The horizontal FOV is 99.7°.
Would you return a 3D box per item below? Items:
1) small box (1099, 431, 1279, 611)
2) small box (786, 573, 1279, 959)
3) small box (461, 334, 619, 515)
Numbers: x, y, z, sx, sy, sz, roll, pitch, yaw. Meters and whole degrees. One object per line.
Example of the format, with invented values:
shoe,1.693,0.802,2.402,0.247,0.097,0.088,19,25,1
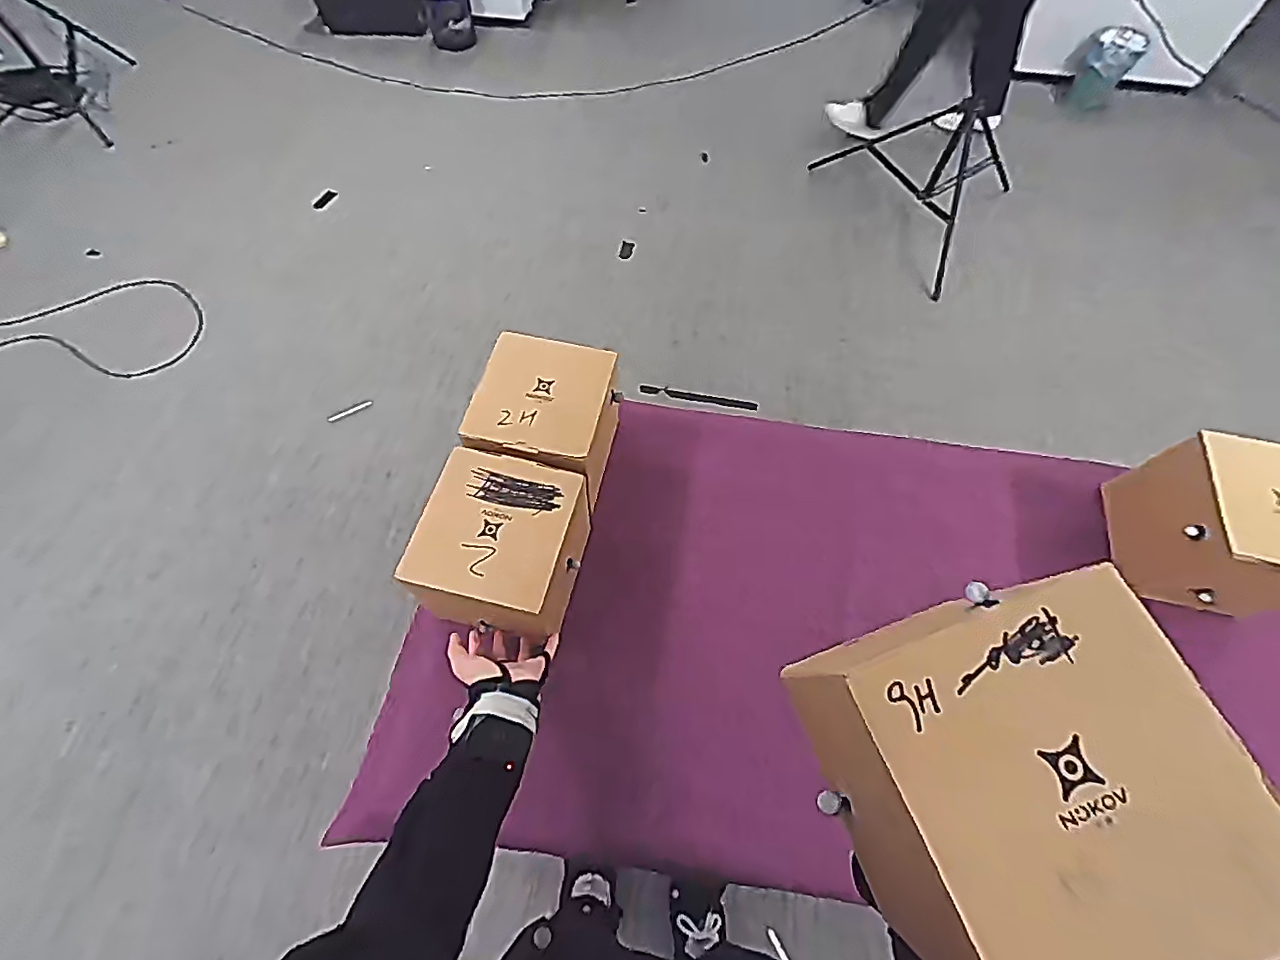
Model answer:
small box,0.776,0.062,0.736,0.168,0.176,0.179,11,65,4
small box,0.215,0.177,0.342,0.168,0.176,0.179,-20,71,-5
small box,-0.129,-0.074,0.772,0.168,0.176,0.179,11,62,4
